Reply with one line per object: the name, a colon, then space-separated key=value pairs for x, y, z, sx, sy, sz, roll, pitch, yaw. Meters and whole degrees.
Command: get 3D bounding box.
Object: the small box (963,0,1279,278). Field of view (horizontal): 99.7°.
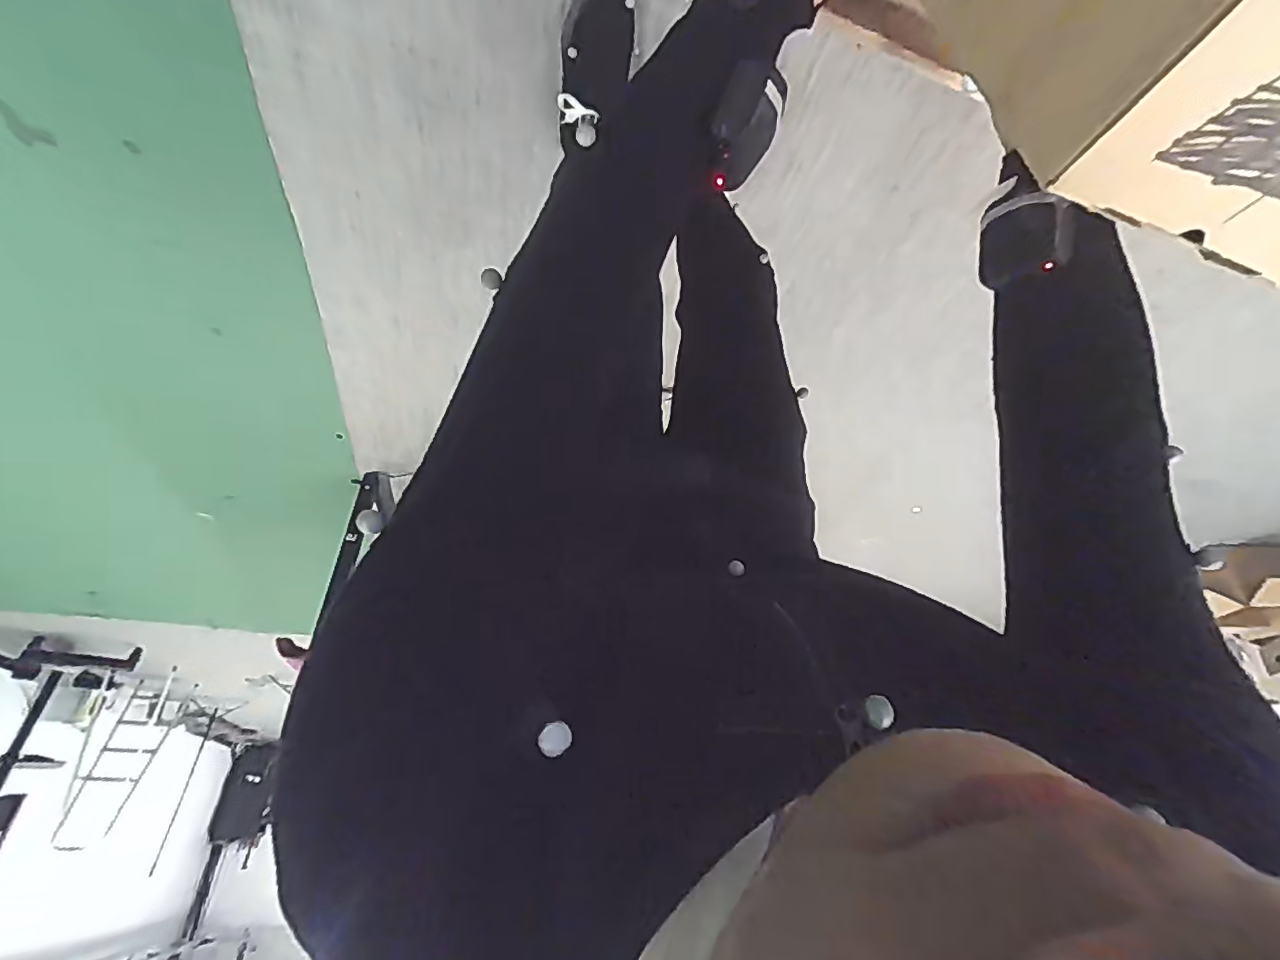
small box: x=0.263 y=-0.220 z=0.210 sx=0.168 sy=0.176 sz=0.179 roll=9 pitch=147 yaw=-17
